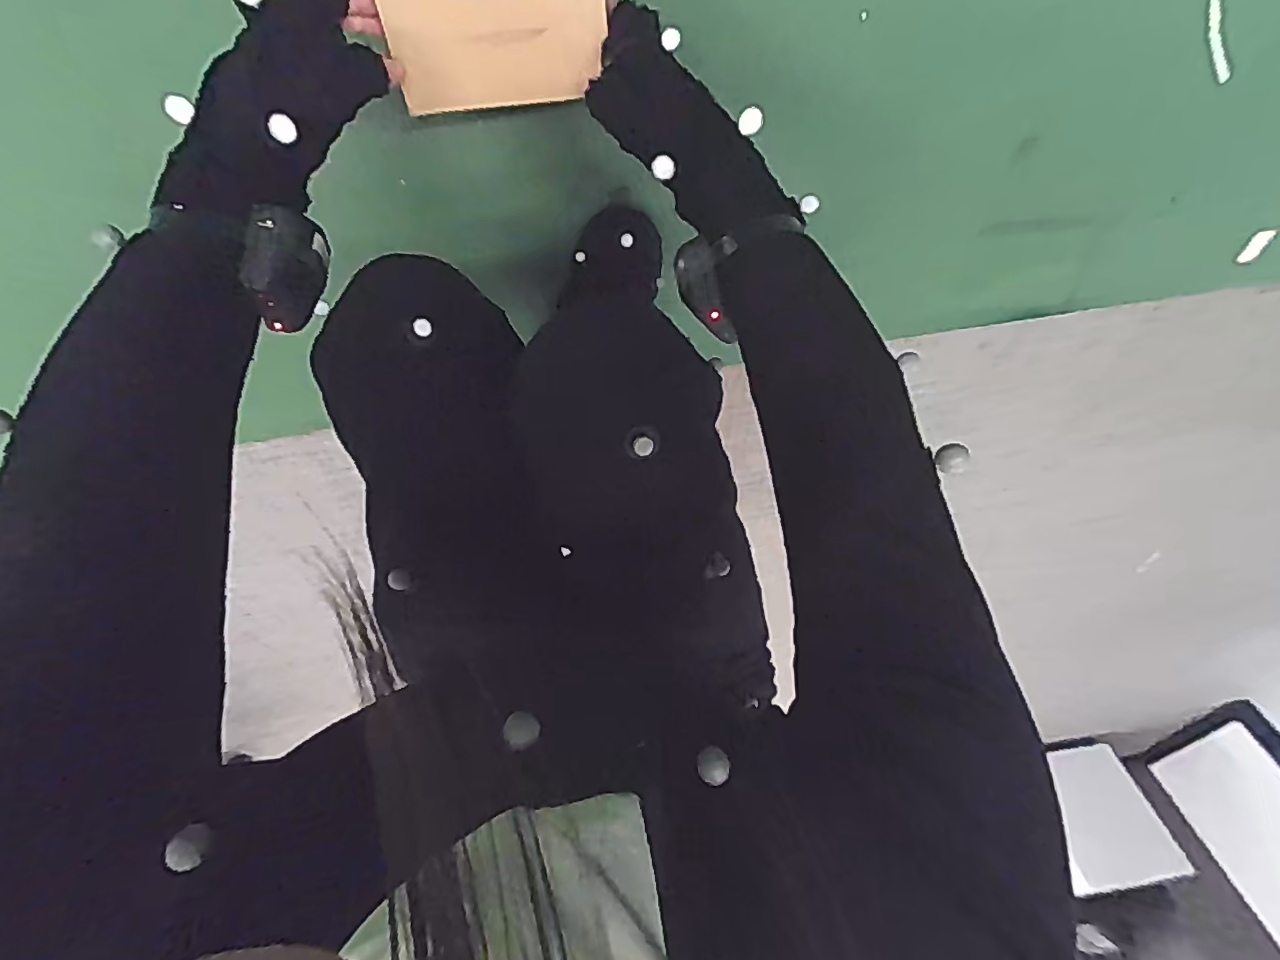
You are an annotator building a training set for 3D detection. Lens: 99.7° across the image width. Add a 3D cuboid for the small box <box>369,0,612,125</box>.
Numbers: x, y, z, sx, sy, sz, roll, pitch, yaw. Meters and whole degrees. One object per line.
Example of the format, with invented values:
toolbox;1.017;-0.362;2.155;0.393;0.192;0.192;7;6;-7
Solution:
small box;-0.112;-0.398;0.418;0.168;0.176;0.179;-5;136;-3
